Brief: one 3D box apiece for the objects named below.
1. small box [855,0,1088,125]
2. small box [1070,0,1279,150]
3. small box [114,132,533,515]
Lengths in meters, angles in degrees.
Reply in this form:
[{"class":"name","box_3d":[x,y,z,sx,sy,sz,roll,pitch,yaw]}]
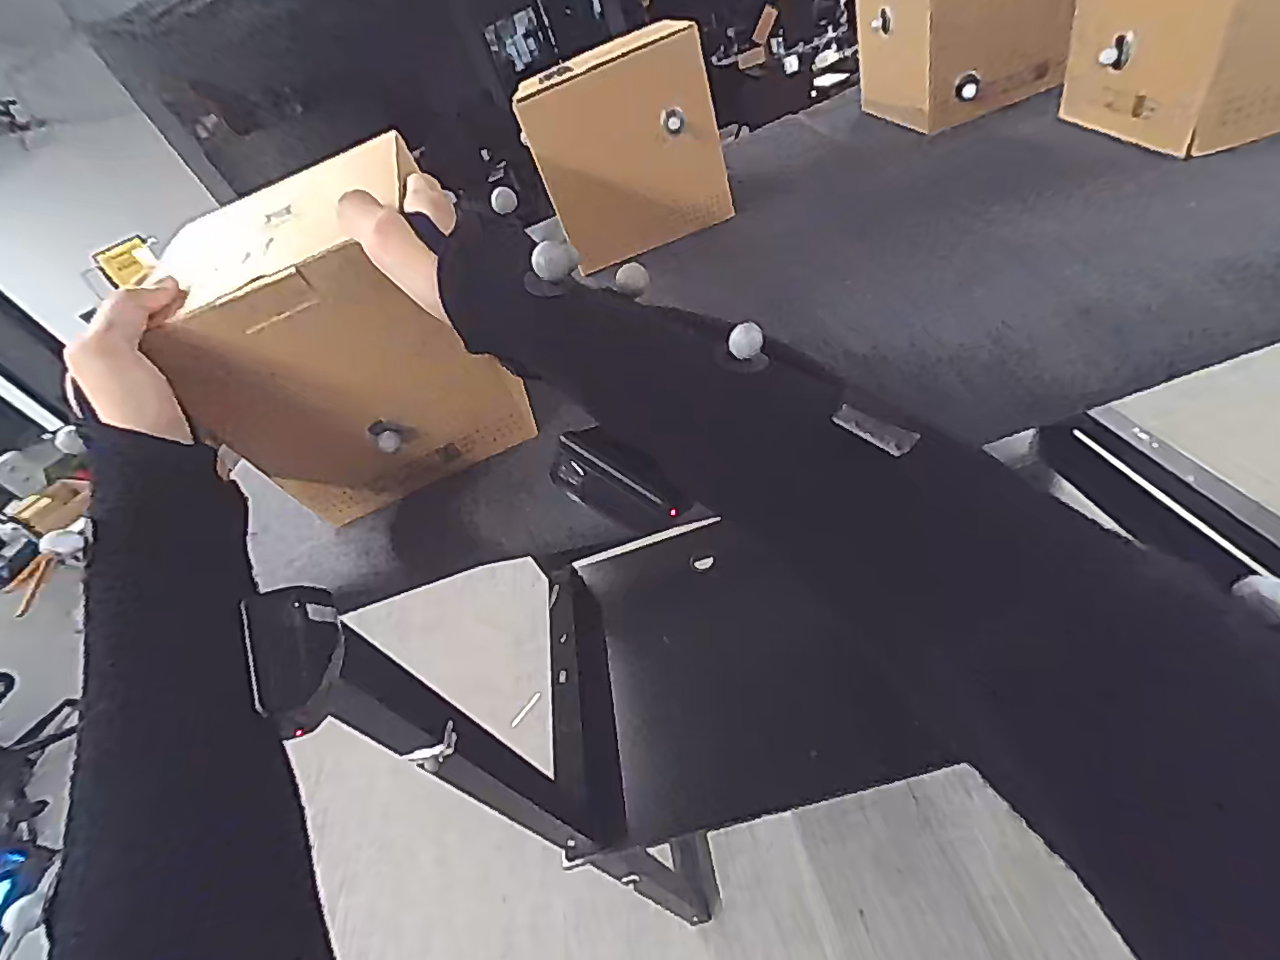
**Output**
[{"class":"small box","box_3d":[0.330,-0.483,0.538,0.168,0.176,0.179,-18,40,9]},{"class":"small box","box_3d":[0.418,-0.343,0.339,0.179,0.176,0.168,-14,40,15]},{"class":"small box","box_3d":[-0.196,-0.107,0.388,0.168,0.176,0.179,-25,49,1]}]
